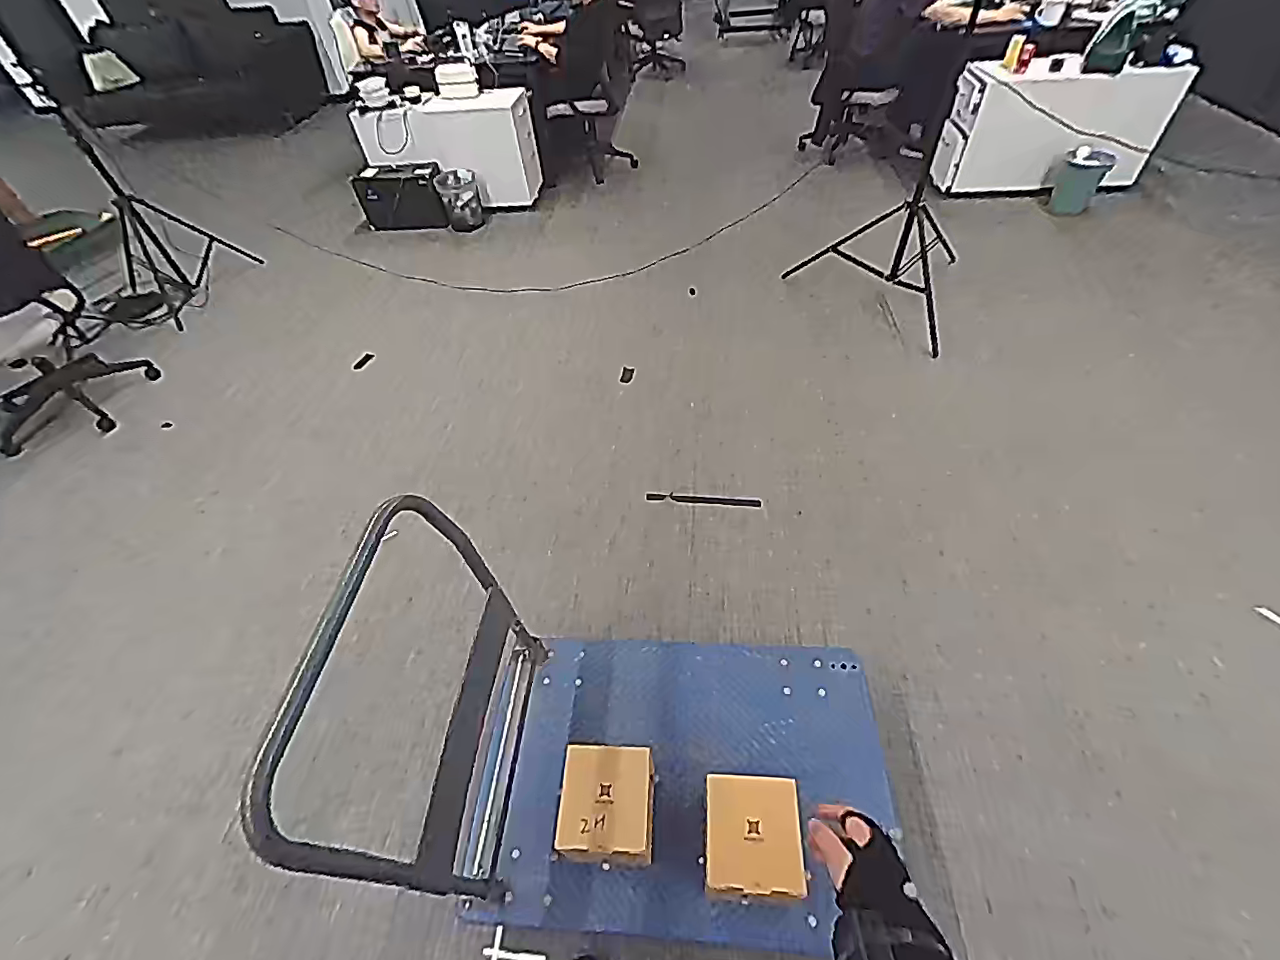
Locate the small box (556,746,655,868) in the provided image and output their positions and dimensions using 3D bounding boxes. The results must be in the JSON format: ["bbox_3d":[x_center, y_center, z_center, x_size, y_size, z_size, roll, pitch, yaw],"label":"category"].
[{"bbox_3d":[-0.058,0.643,1.063,0.168,0.176,0.179,-1,49,6],"label":"small box"}]

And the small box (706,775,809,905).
[{"bbox_3d":[0.208,0.674,1.012,0.168,0.176,0.179,0,49,6],"label":"small box"}]
